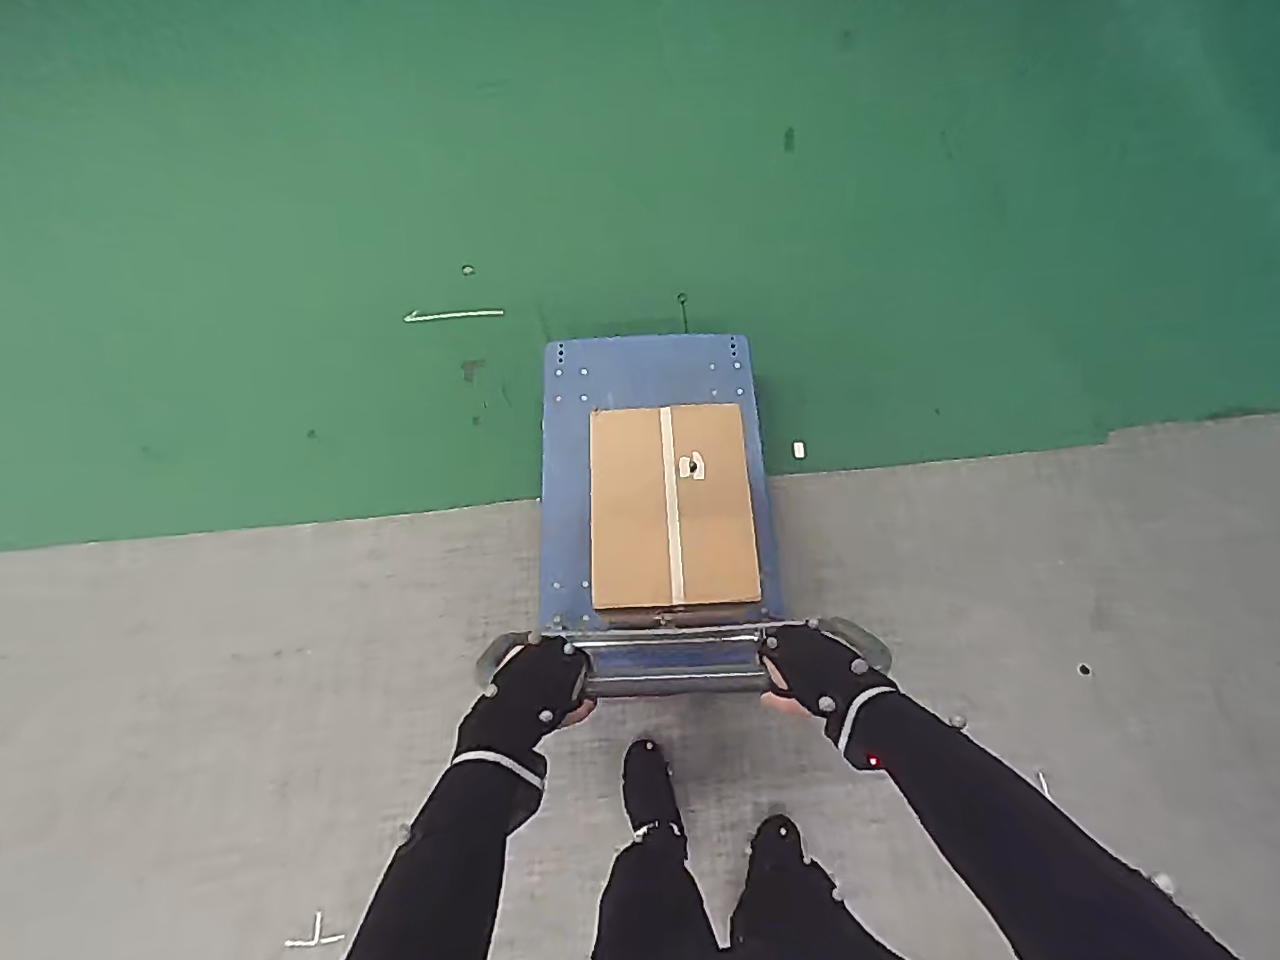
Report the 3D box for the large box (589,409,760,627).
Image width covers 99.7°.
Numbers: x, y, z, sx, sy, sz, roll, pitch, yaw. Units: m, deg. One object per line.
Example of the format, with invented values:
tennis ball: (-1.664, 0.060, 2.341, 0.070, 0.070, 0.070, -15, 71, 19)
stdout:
large box: (0.062, 0.099, 1.197, 0.320, 0.320, 0.408, -3, 70, -1)
